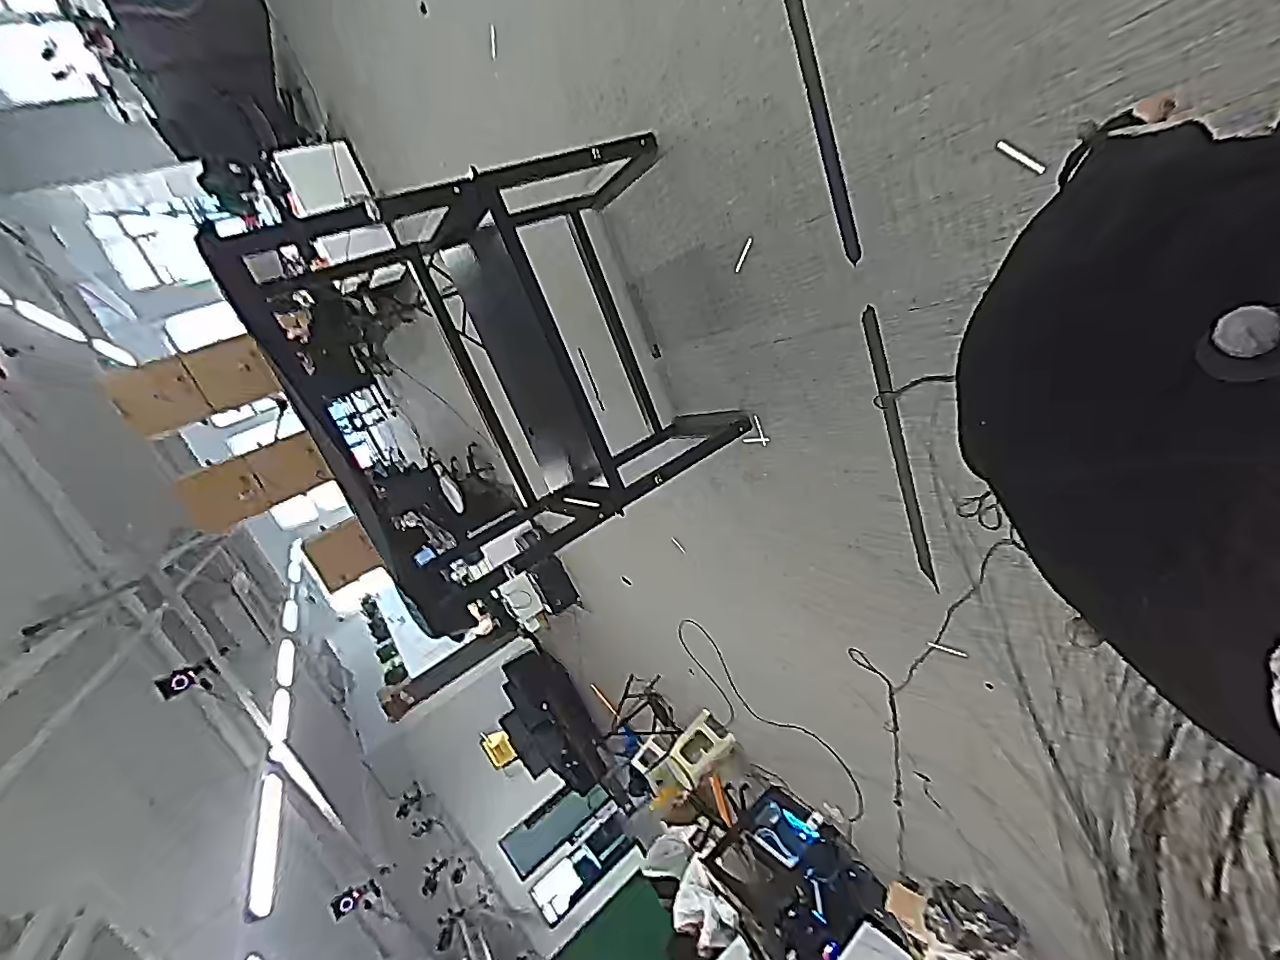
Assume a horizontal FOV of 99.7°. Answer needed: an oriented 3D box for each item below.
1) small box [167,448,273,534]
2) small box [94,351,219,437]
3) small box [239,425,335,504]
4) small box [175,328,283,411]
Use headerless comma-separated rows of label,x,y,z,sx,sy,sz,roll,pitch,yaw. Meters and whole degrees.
small box,-1.117,0.022,1.461,0.179,0.176,0.168,9,126,58
small box,-1.216,-0.220,1.380,0.179,0.176,0.168,10,126,57
small box,-0.988,-0.050,1.529,0.179,0.176,0.168,9,125,60
small box,-1.088,-0.294,1.450,0.179,0.176,0.168,9,126,58
